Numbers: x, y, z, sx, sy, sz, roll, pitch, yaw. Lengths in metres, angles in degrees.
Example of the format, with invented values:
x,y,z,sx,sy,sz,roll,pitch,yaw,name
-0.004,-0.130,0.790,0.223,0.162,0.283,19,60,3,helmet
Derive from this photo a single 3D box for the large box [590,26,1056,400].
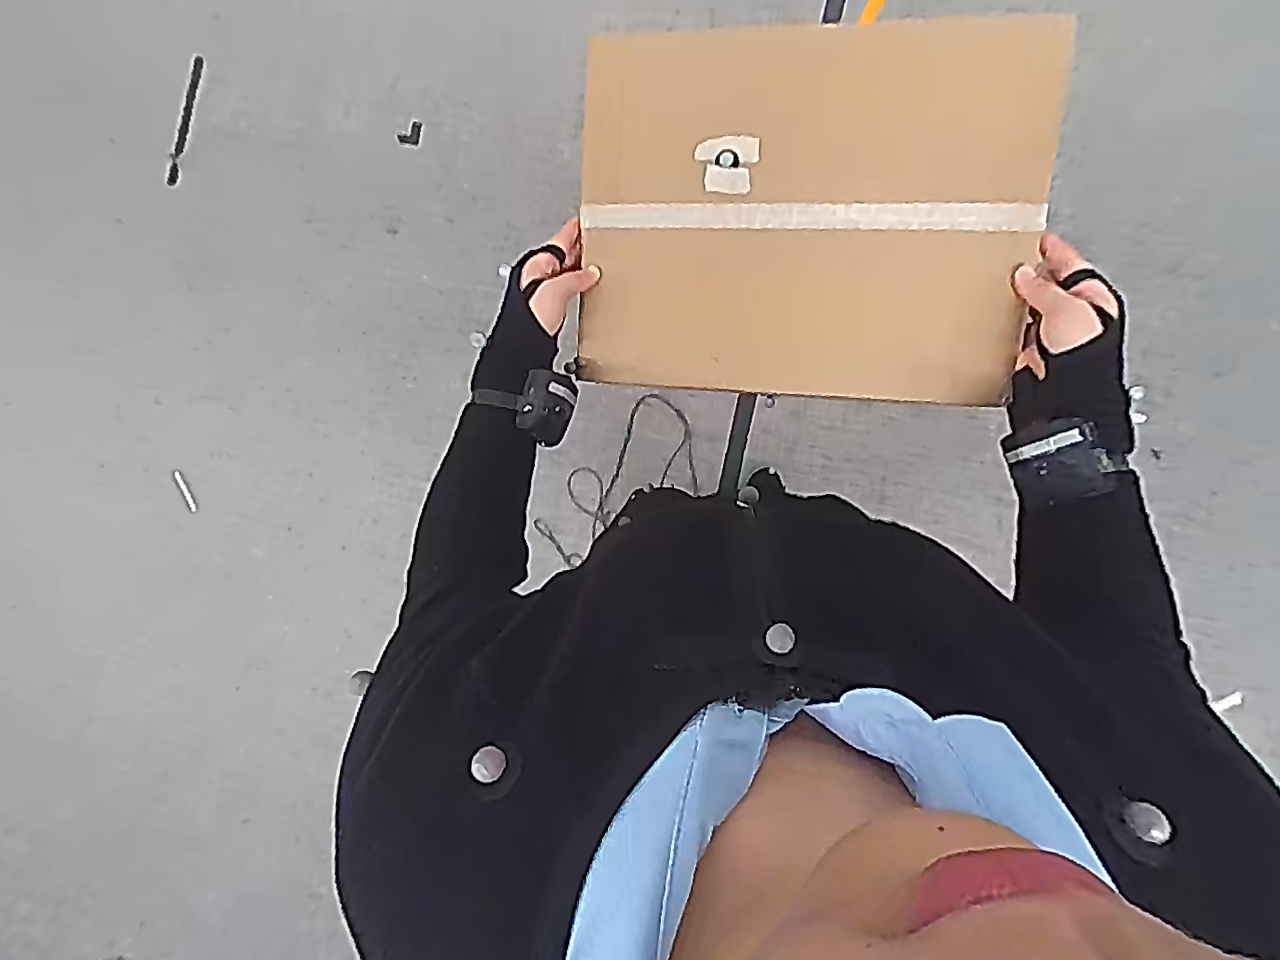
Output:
x,y,z,sx,sy,sz,roll,pitch,yaw,name
0.177,-0.261,0.651,0.408,0.320,0.320,5,99,10,large box
